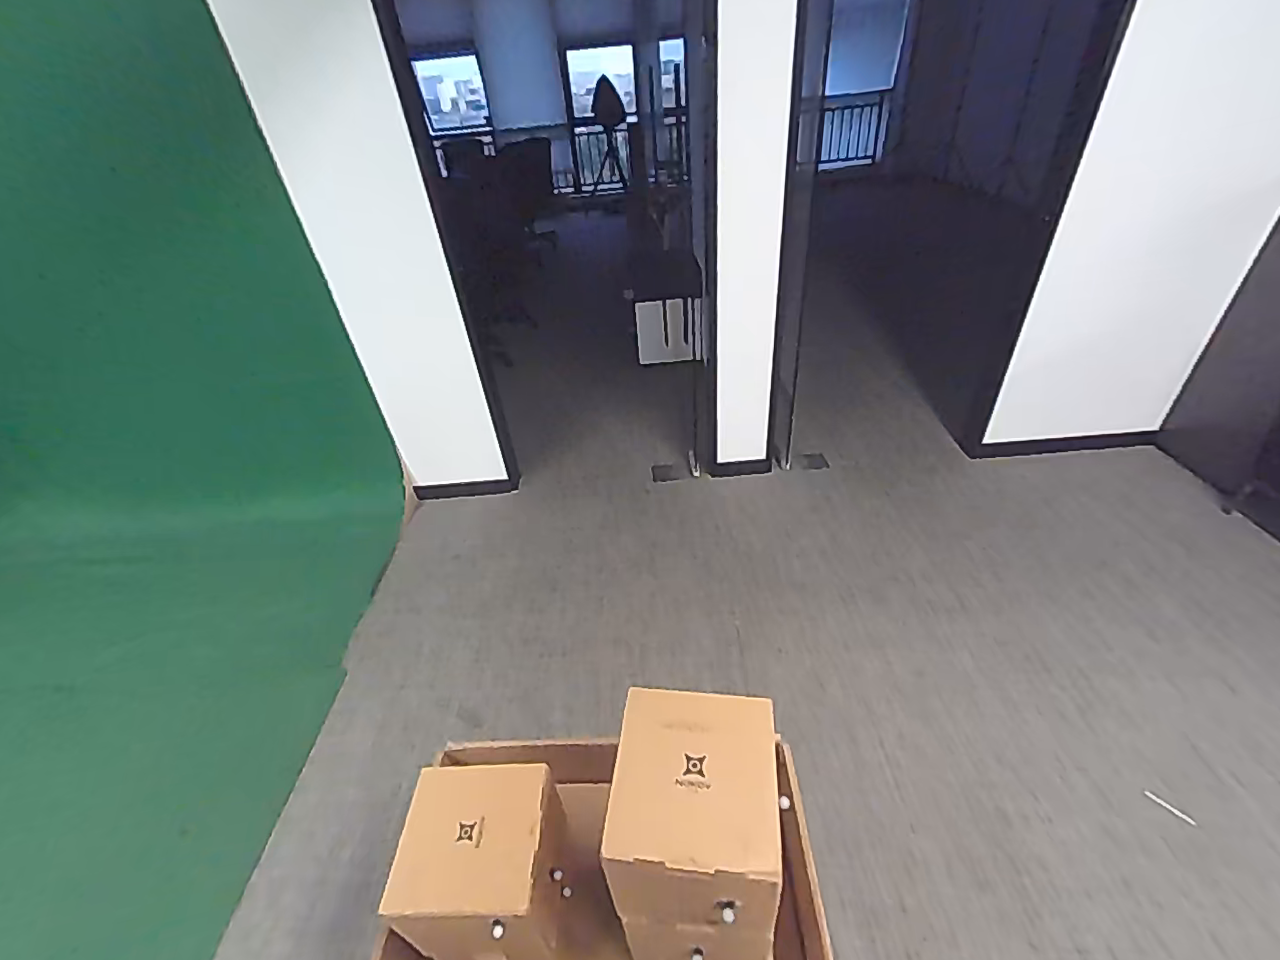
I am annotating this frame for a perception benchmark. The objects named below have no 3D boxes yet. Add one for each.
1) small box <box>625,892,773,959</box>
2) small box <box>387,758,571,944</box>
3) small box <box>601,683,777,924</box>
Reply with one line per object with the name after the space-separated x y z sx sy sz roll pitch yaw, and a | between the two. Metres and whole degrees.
0.082 0.487 0.699 0.168 0.176 0.179 0 39 9 | small box
-0.200 0.500 0.729 0.179 0.176 0.168 -3 37 3 | small box
0.064 0.356 0.601 0.168 0.176 0.179 1 37 10 | small box
